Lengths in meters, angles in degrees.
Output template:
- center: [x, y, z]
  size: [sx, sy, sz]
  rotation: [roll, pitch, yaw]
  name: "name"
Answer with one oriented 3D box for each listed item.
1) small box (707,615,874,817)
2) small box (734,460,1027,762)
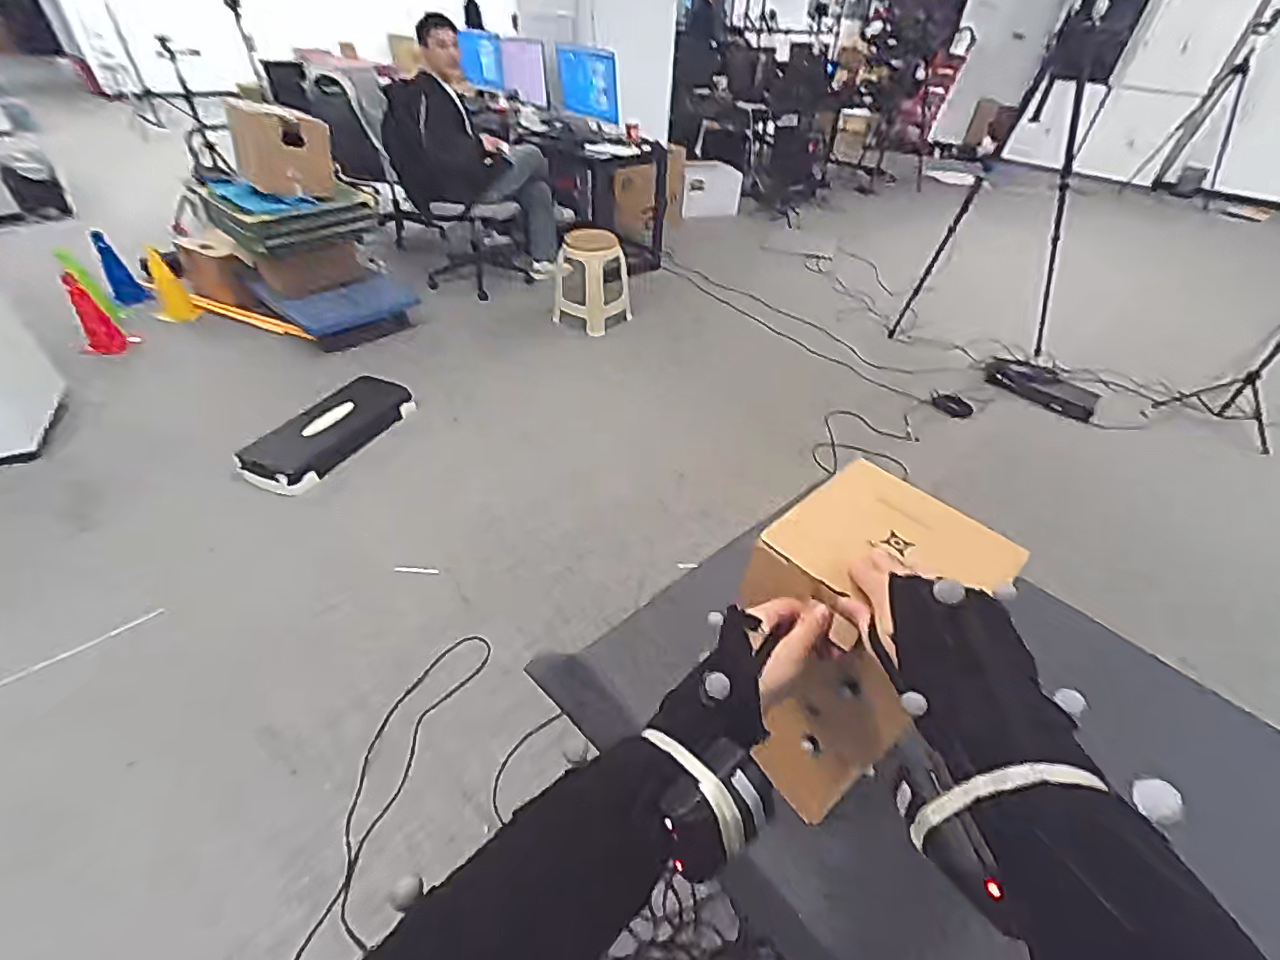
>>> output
- center: [0.196, 0.233, 0.614]
  size: [0.168, 0.176, 0.179]
  rotation: [-25, 49, -30]
  name: "small box"
- center: [0.205, 0.117, 0.501]
  size: [0.179, 0.176, 0.168]
  rotation: [-30, 53, -35]
  name: "small box"
